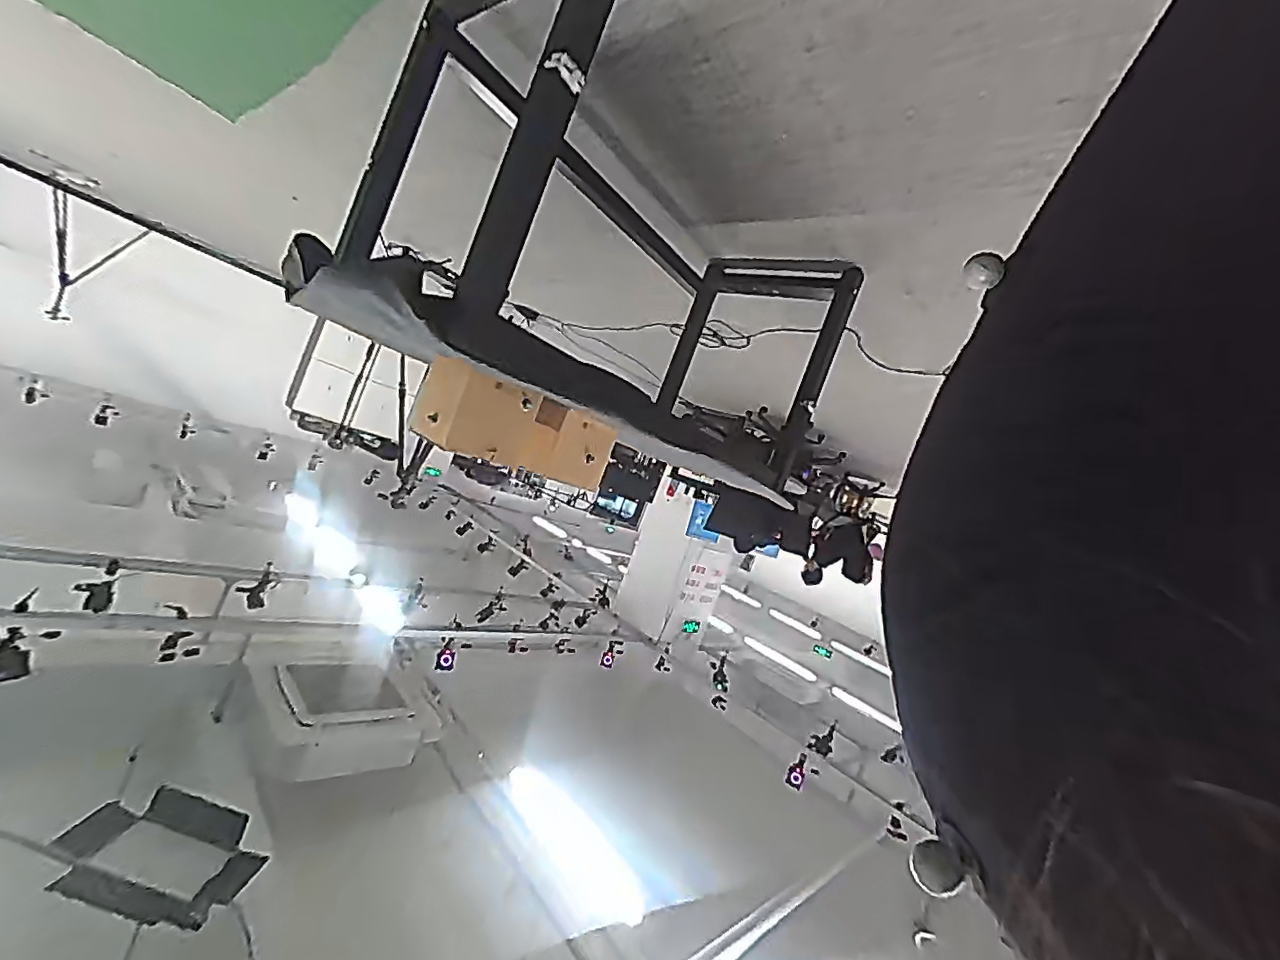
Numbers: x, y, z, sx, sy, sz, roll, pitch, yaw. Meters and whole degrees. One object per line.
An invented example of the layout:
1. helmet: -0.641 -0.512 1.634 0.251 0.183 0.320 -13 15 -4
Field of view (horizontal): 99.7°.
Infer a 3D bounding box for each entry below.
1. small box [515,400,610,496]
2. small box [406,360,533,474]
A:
1. small box: -0.190 -0.078 1.273 0.179 0.176 0.168 22 -179 43
2. small box: -0.337 -0.129 1.090 0.179 0.176 0.168 23 -179 43
